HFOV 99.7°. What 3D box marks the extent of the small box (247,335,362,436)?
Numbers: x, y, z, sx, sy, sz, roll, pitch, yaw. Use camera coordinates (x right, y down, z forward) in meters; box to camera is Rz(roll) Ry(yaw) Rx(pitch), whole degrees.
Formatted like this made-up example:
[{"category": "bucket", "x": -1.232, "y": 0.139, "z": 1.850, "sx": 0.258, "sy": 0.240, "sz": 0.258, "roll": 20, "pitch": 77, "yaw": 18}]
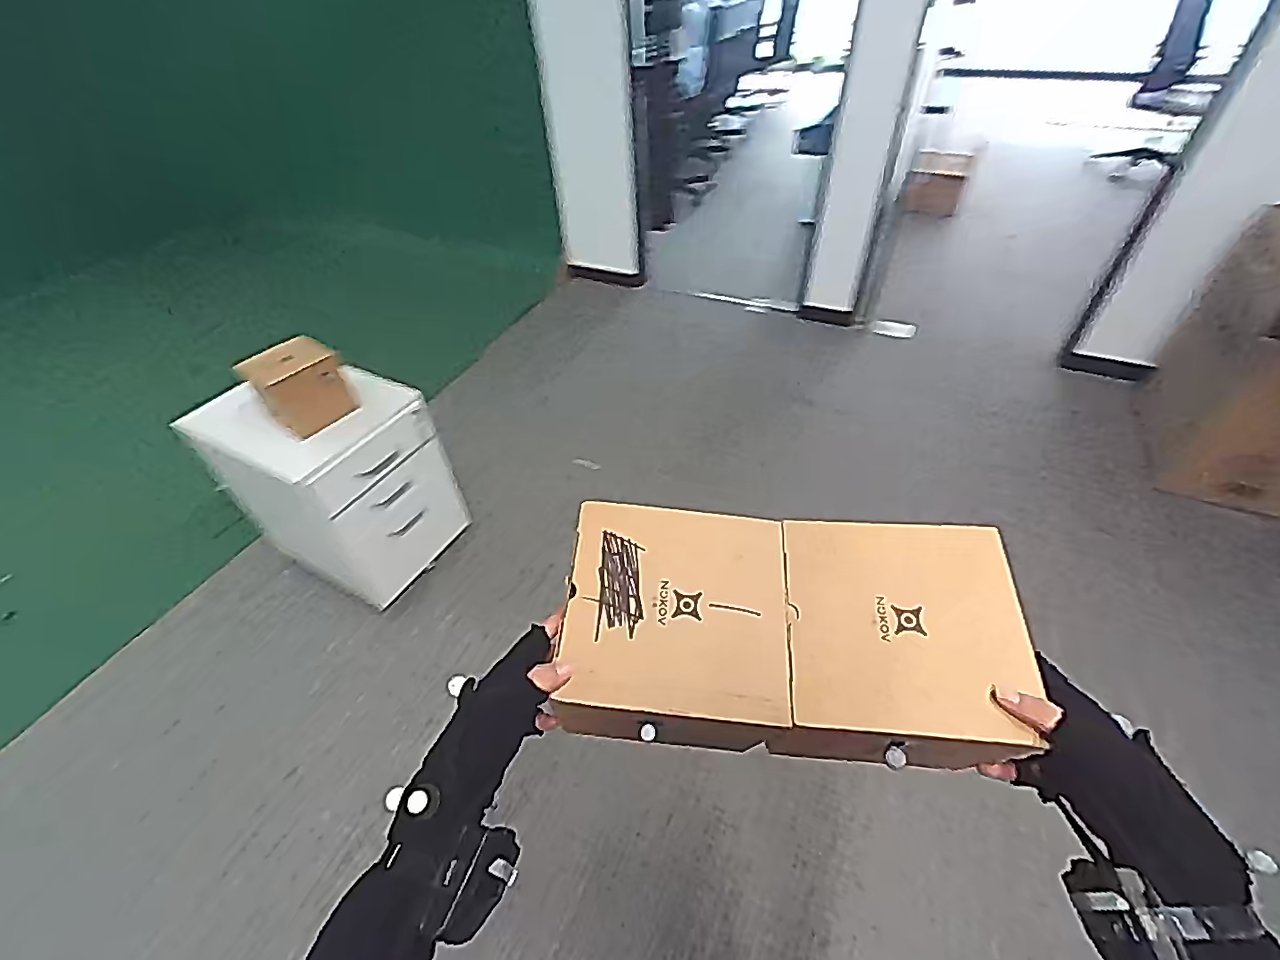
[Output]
[{"category": "small box", "x": -0.855, "y": -0.245, "z": 1.401, "sx": 0.168, "sy": 0.176, "sz": 0.179, "roll": 27, "pitch": 52, "yaw": 27}]
